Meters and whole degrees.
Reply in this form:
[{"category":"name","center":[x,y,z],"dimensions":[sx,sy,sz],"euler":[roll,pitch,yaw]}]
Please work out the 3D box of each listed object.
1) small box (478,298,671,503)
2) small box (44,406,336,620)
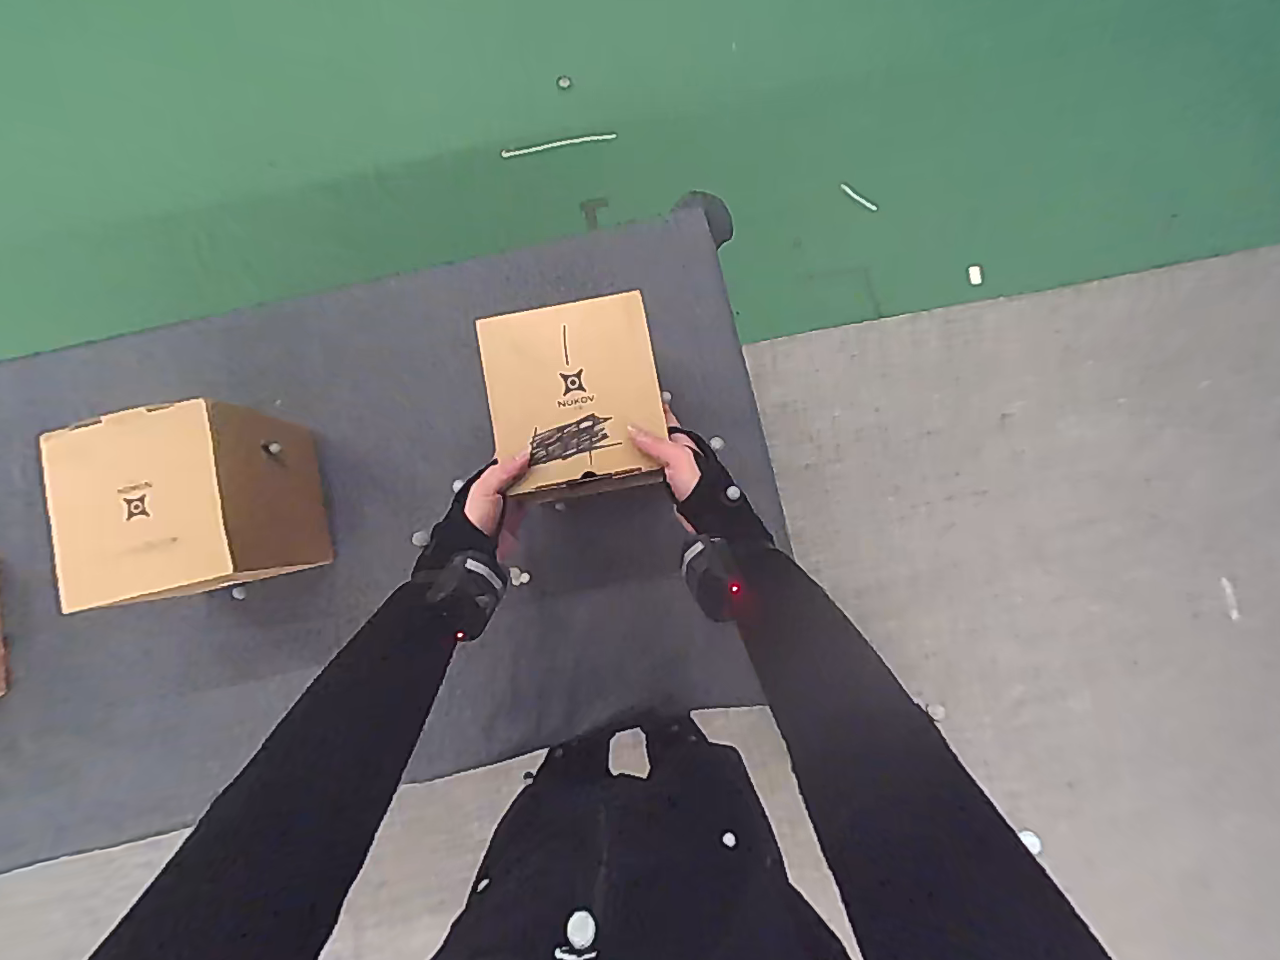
[{"category":"small box","center":[-0.062,-0.072,0.595],"dimensions":[0.168,0.176,0.179],"euler":[-11,85,-1]},{"category":"small box","center":[-0.468,0.036,0.590],"dimensions":[0.168,0.176,0.179],"euler":[-14,86,0]}]
